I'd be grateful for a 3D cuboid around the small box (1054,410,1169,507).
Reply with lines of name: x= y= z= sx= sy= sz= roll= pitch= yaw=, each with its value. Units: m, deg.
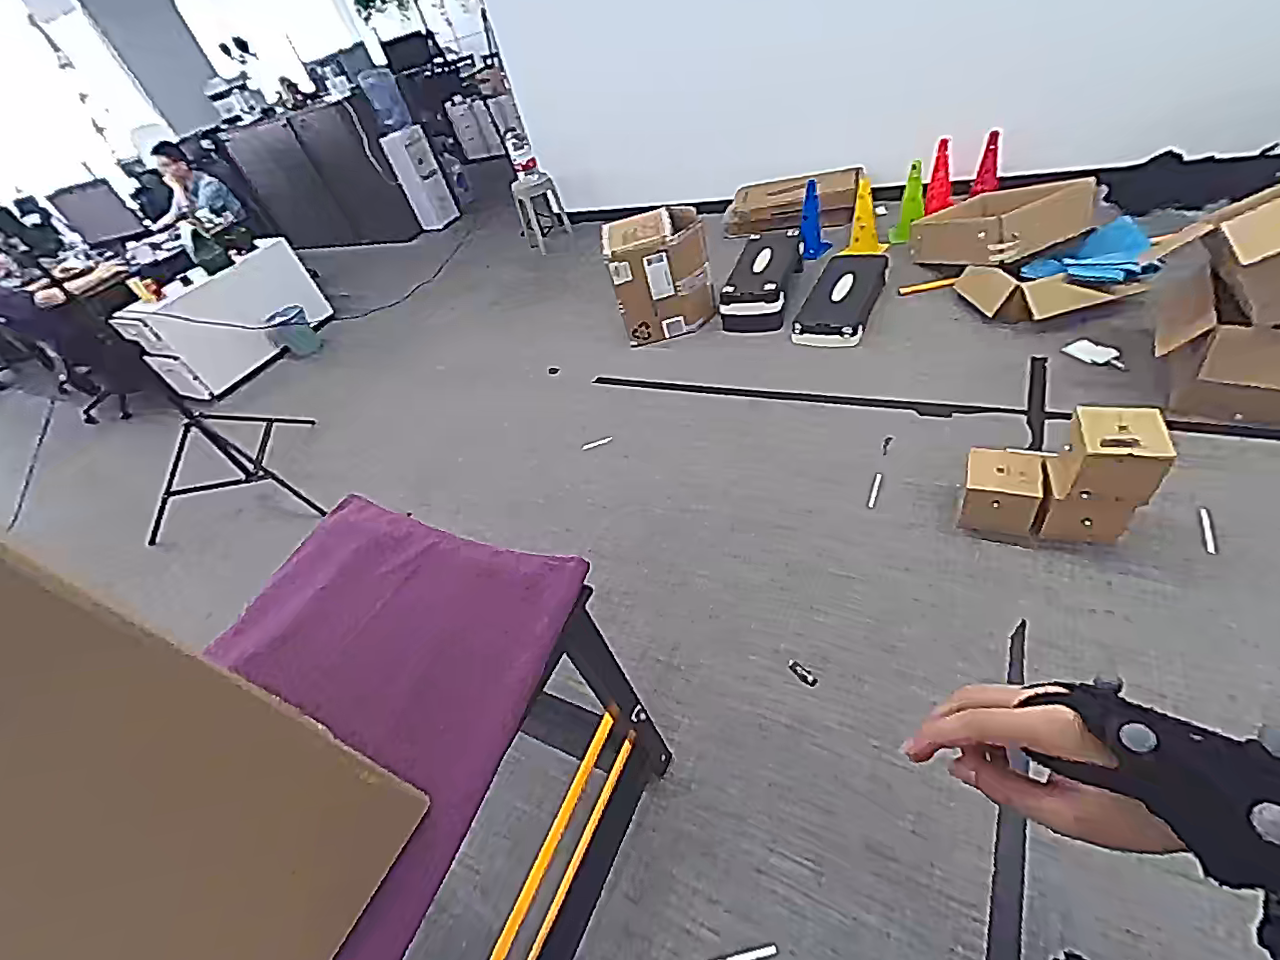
small box: x=1.160 y=-0.053 z=1.346 sx=0.168 sy=0.176 sz=0.179 roll=6 pitch=48 yaw=24
